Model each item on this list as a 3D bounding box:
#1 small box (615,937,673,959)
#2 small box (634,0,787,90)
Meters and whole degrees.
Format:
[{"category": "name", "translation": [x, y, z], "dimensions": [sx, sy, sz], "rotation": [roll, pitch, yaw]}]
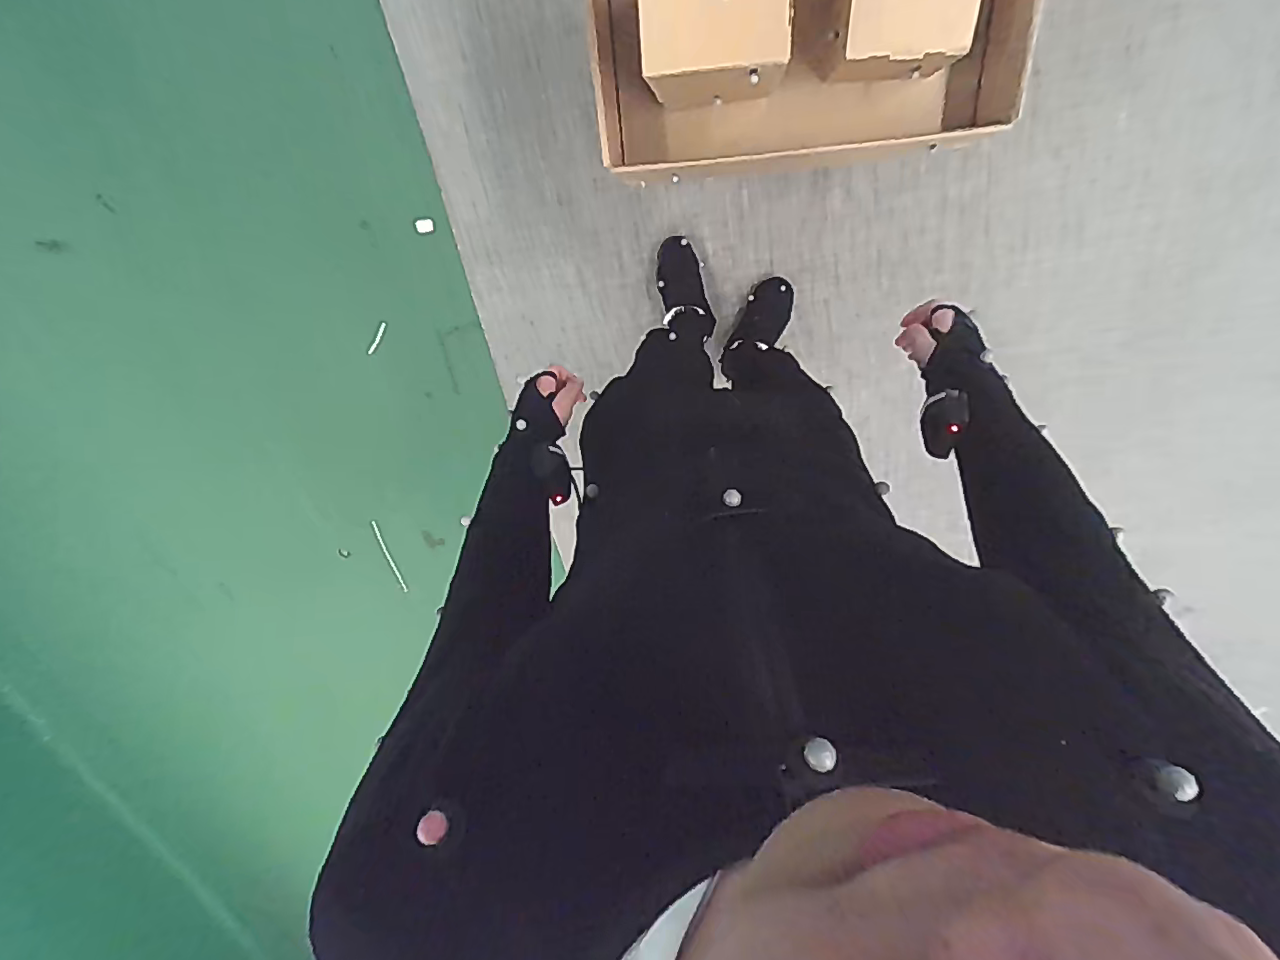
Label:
[{"category": "small box", "translation": [0.014, 1.524, 1.628], "dimensions": [0.168, 0.176, 0.179], "rotation": [-7, 116, 12]}, {"category": "small box", "translation": [0.090, -0.607, 0.676], "dimensions": [0.179, 0.176, 0.168], "rotation": [0, 117, 9]}]
